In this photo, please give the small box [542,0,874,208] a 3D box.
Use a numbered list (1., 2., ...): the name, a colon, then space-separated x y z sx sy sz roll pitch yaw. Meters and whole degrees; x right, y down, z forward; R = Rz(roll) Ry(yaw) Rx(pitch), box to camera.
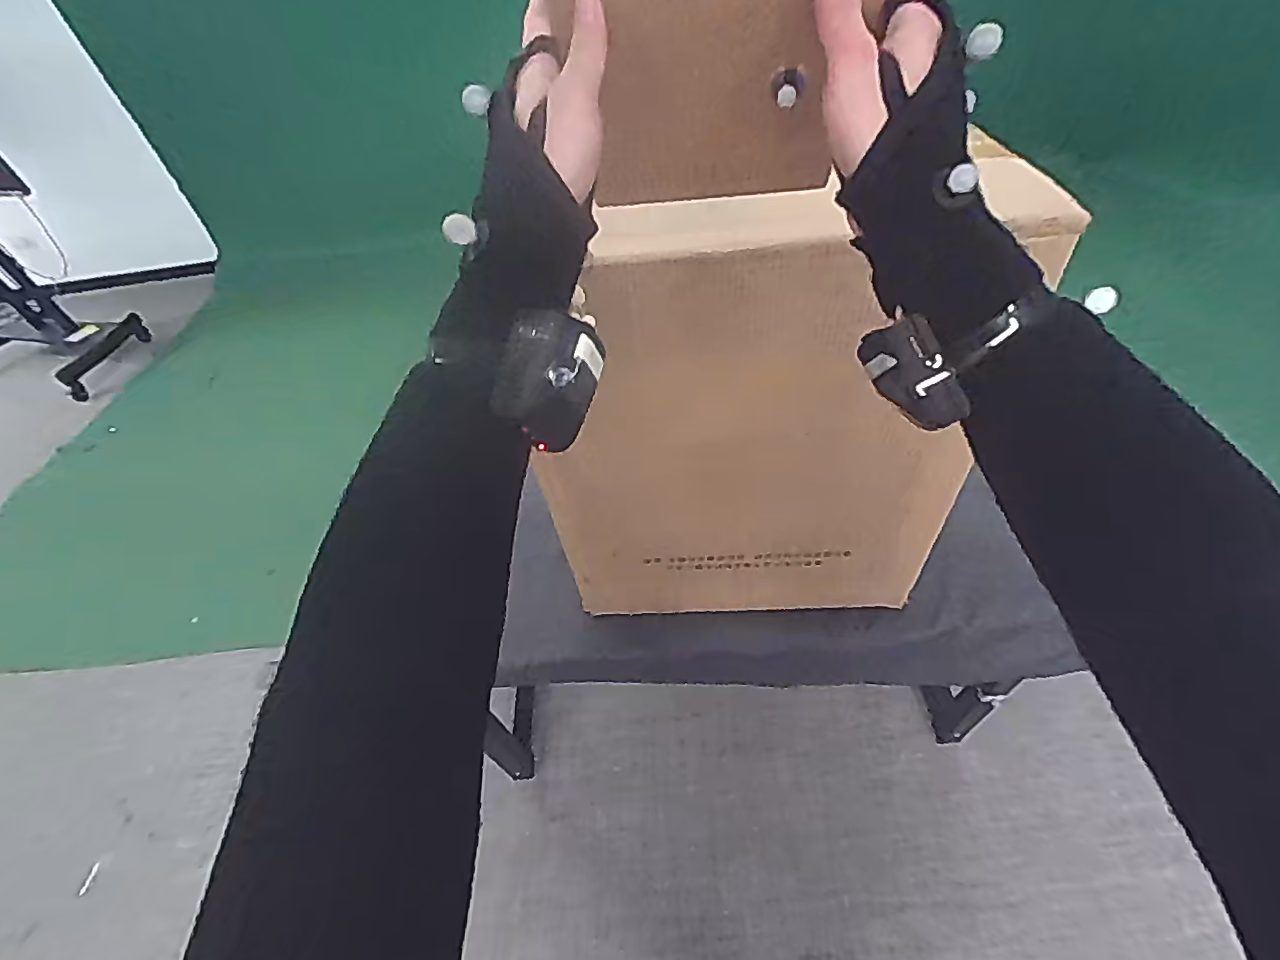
1. small box: 0.043 -0.311 0.360 0.179 0.176 0.168 -1 75 7
